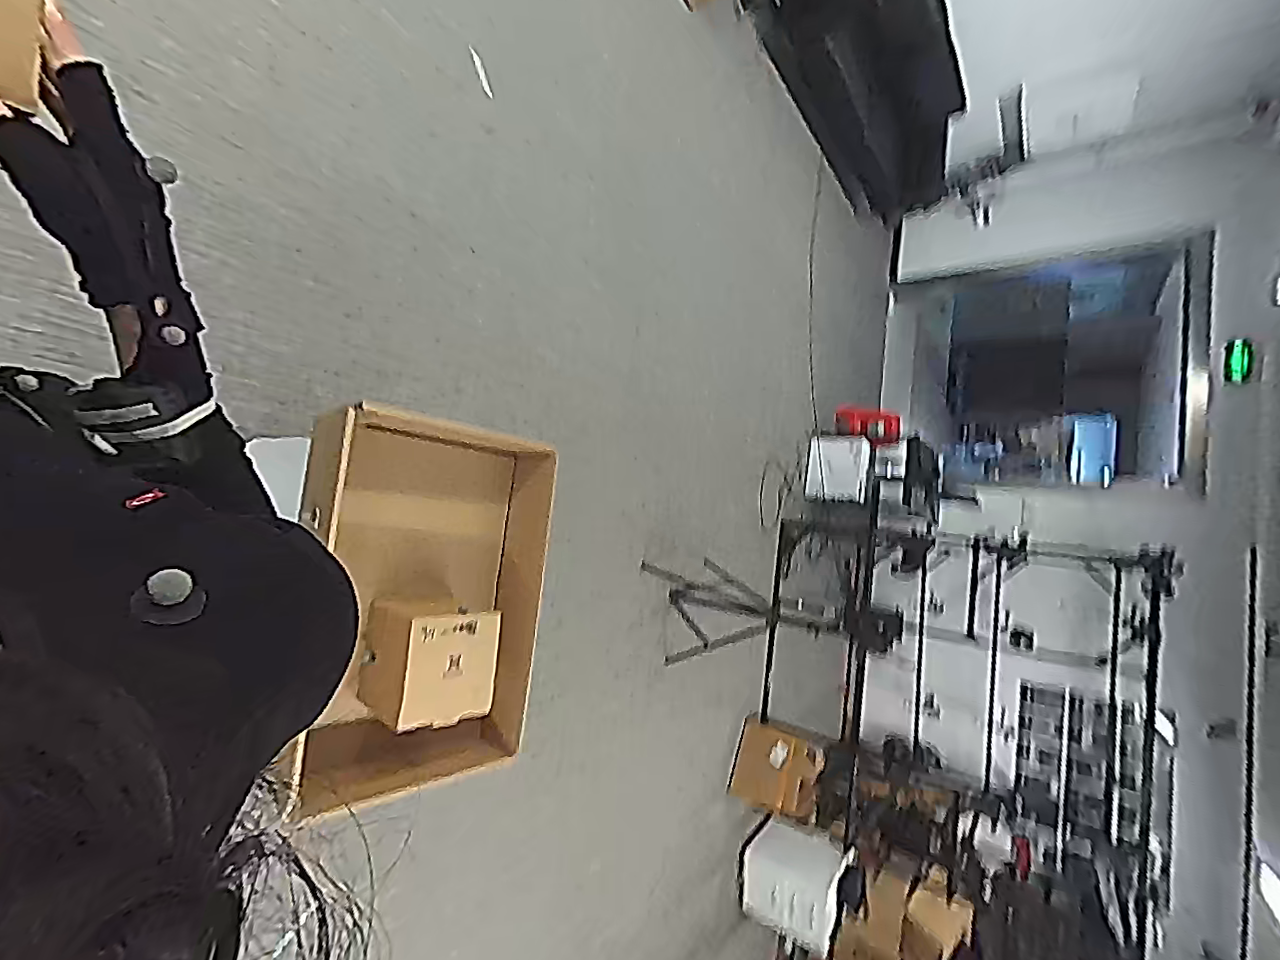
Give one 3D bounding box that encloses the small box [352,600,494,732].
[{"bbox_3d":[-0.383,0.314,0.948,0.168,0.176,0.179,13,81,-48],"label":"small box"}]
